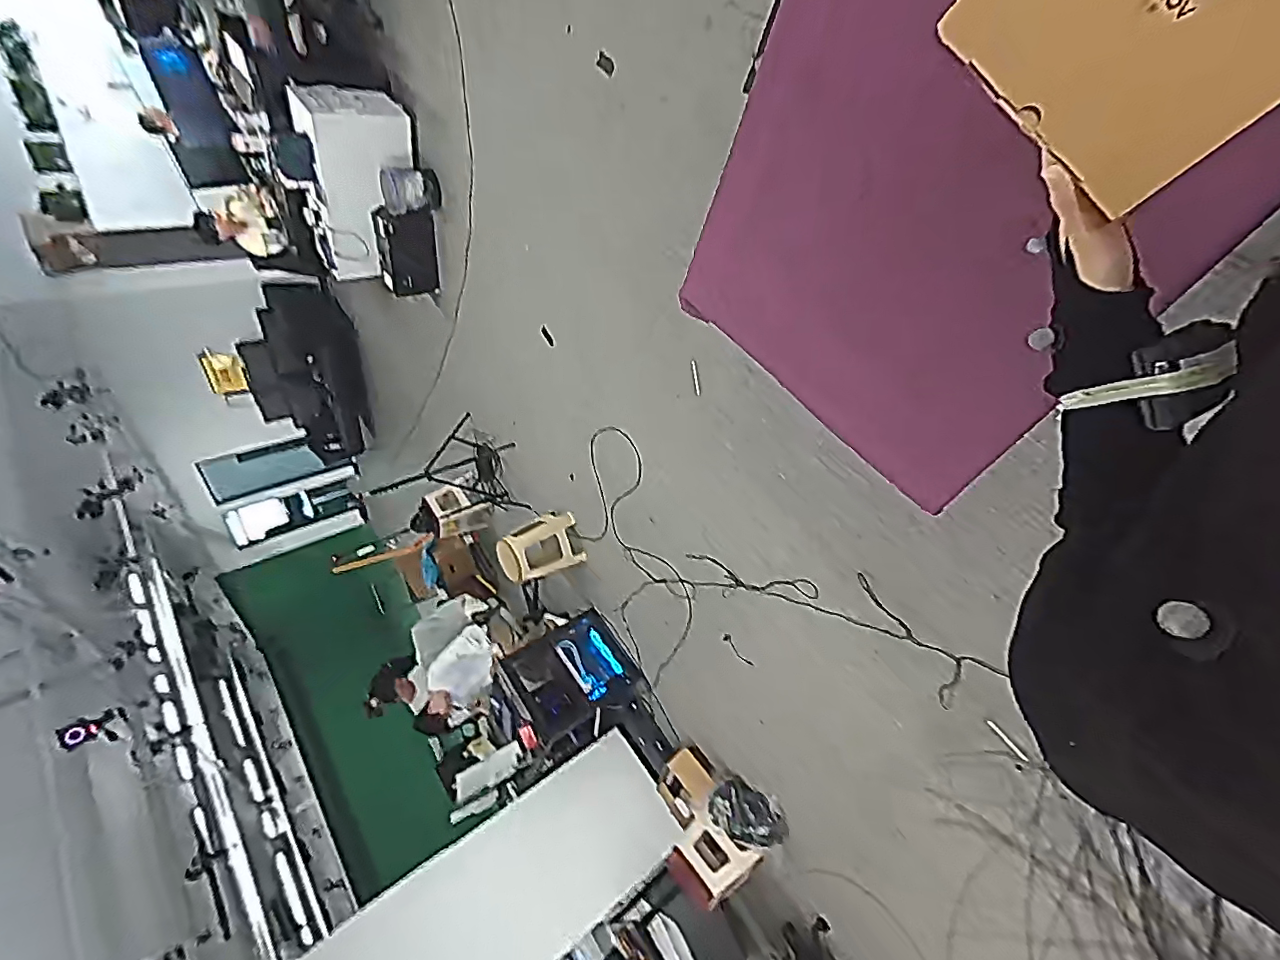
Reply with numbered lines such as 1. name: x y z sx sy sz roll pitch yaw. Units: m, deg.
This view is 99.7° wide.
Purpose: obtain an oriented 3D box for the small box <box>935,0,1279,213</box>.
1. small box: 0.322 -0.298 0.313 0.168 0.176 0.179 52 144 4
